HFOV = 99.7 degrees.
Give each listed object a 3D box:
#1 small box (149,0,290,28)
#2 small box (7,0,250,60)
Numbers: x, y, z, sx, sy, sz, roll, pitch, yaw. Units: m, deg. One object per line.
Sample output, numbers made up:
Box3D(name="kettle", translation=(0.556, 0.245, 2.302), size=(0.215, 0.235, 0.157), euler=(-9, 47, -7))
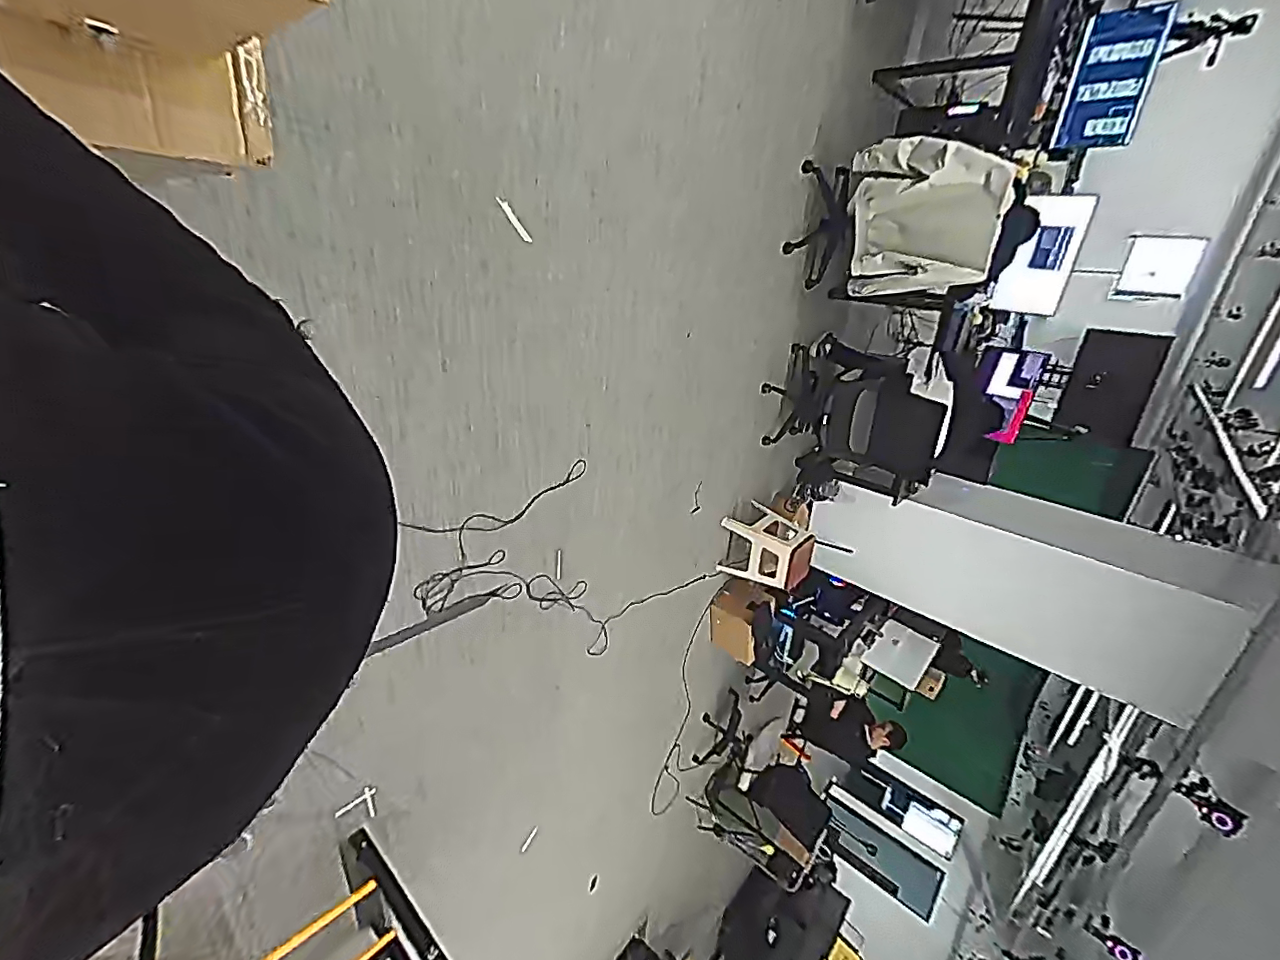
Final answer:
Box3D(name="small box", translation=(-0.362, -0.463, 0.389), size=(0.179, 0.176, 0.168), euler=(-18, 123, -45))
Box3D(name="small box", translation=(-0.485, -0.515, 0.486), size=(0.168, 0.176, 0.179), euler=(-18, 124, -44))
